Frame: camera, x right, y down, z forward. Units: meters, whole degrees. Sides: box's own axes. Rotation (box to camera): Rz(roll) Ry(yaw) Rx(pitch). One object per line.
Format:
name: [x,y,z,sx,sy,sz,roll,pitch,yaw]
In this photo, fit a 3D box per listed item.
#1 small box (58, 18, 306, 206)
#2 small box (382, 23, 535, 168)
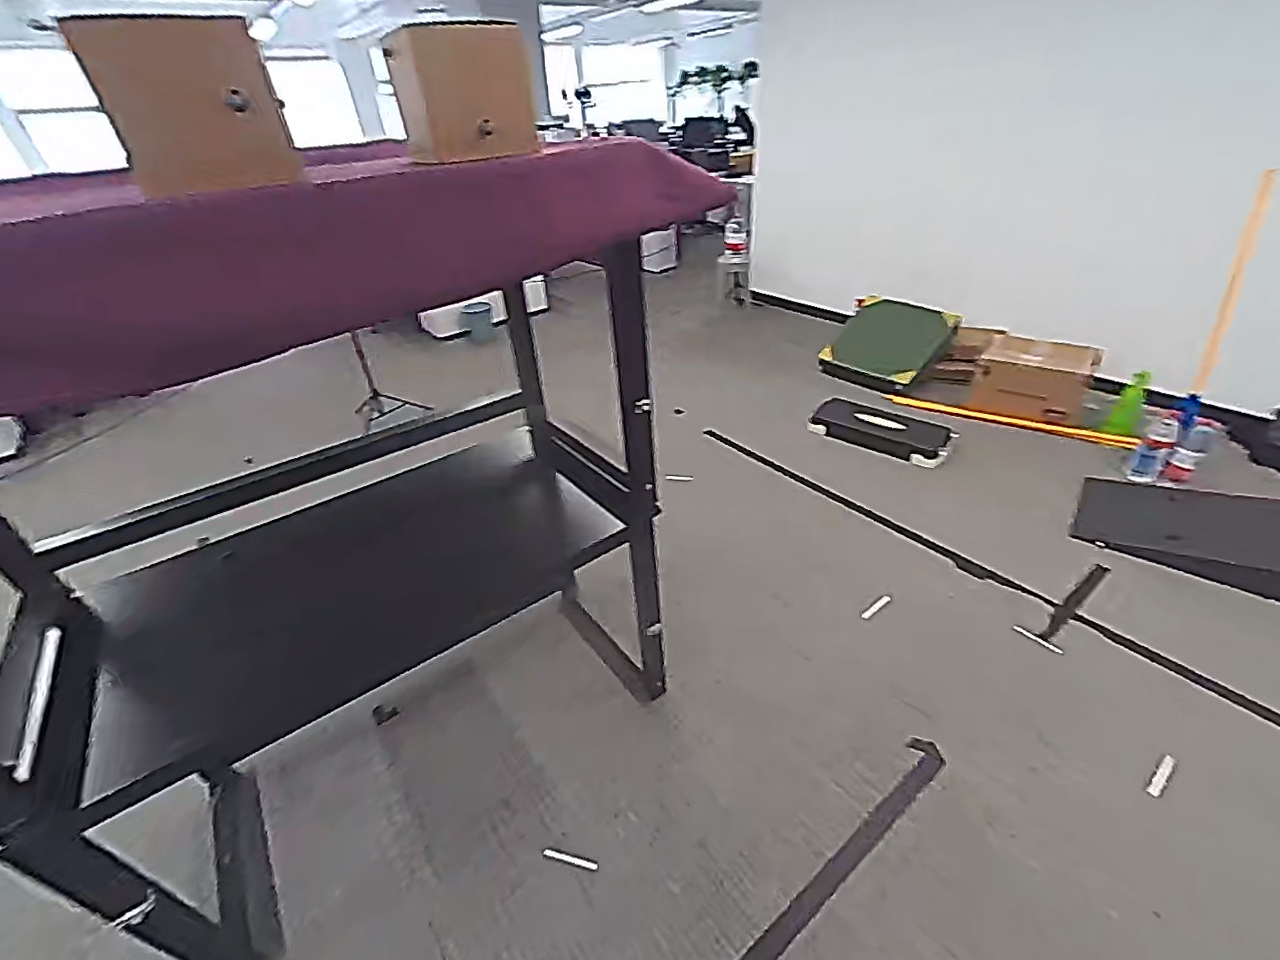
small box: [-0.538,-0.451,0.671,0.179,0.176,0.168,-22,37,-23]
small box: [-0.280,-0.604,0.860,0.179,0.176,0.168,-24,38,-26]
